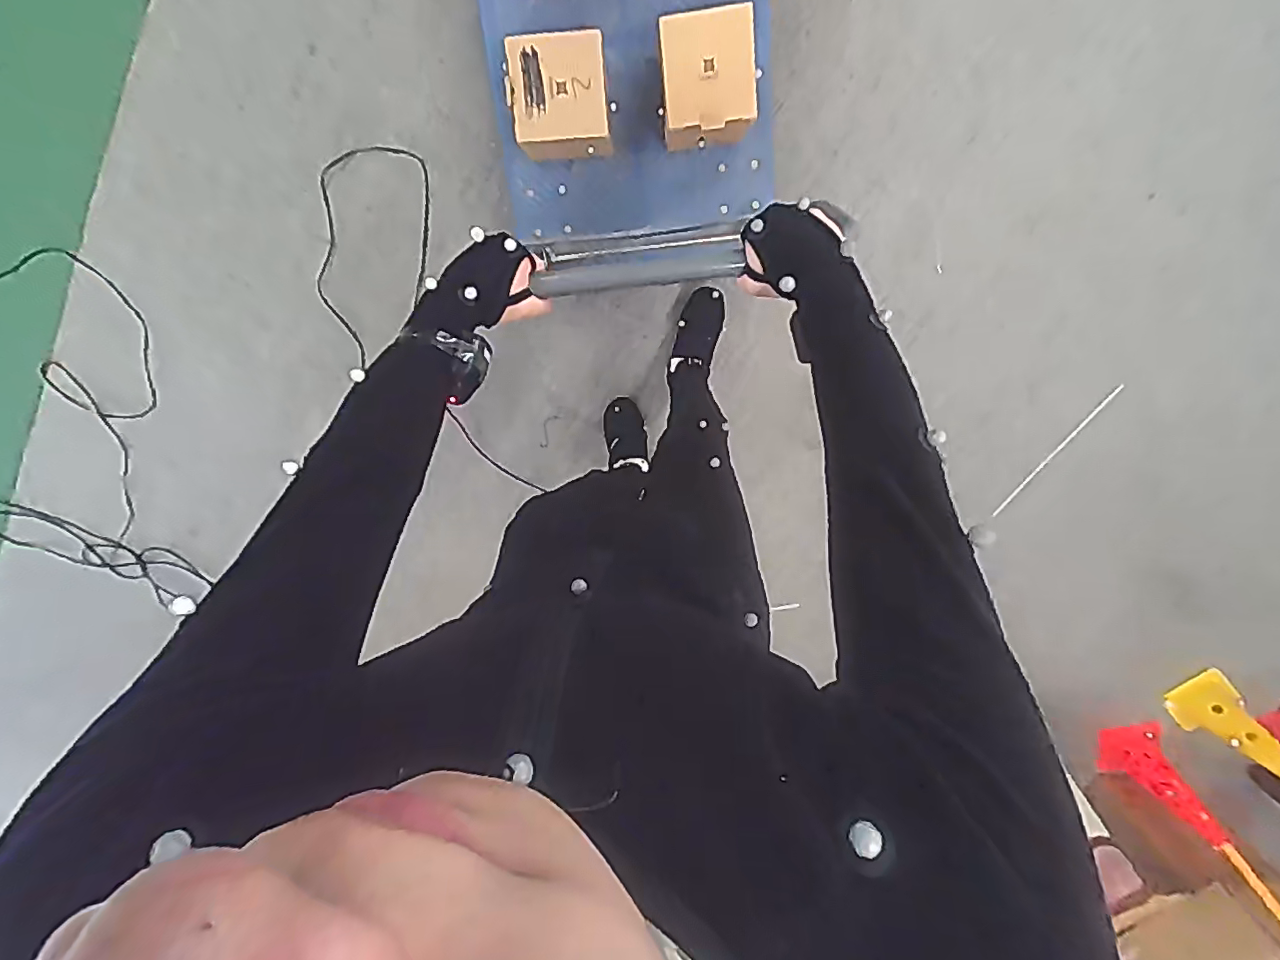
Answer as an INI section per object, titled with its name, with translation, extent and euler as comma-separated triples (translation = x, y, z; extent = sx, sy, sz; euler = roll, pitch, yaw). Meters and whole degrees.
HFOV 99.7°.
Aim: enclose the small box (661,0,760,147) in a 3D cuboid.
[small box]
translation = 0.130, -0.767, 1.038
extent = 0.168, 0.176, 0.179
euler = -6, 111, 4
